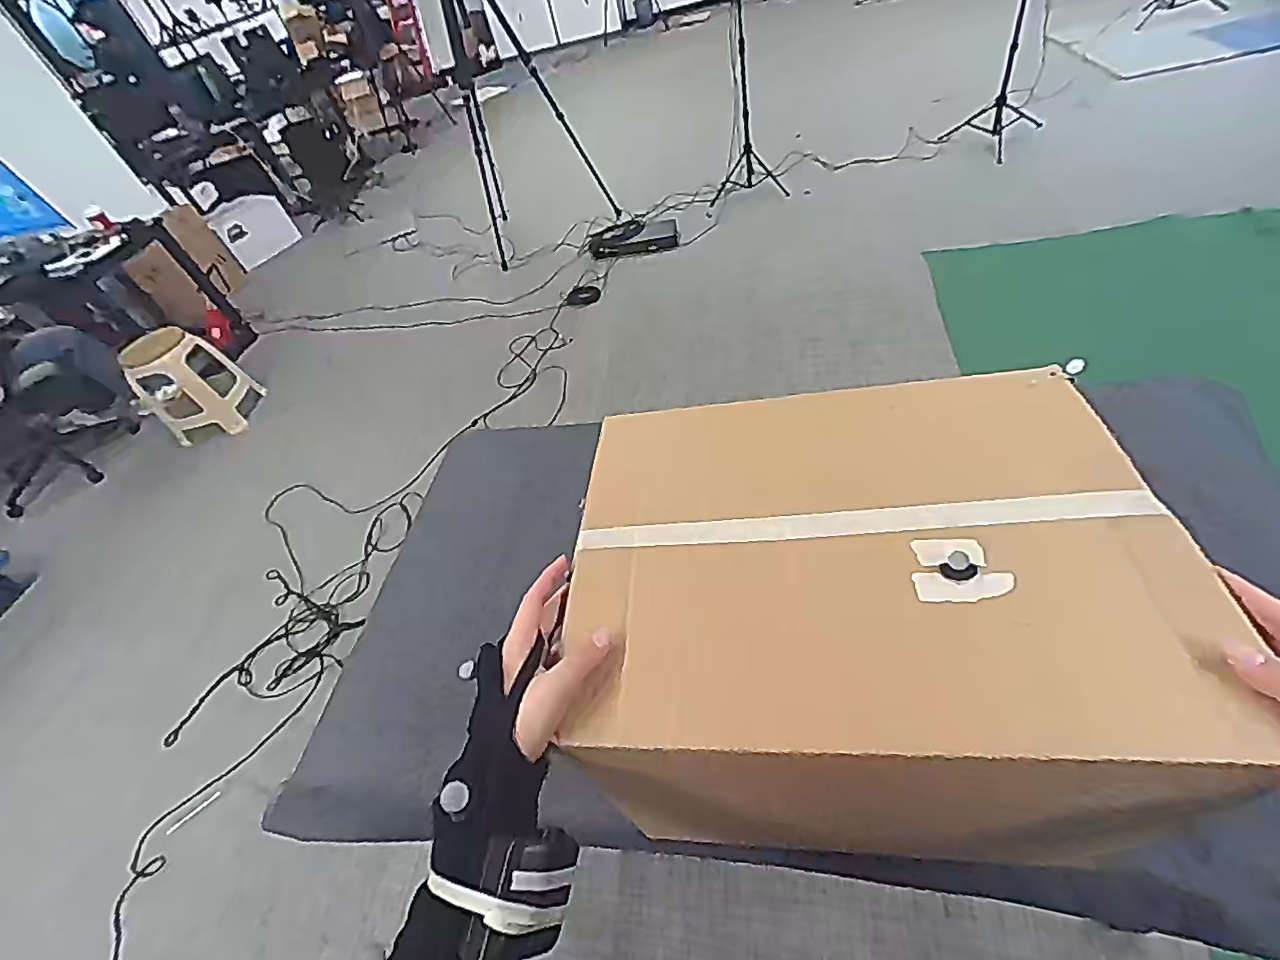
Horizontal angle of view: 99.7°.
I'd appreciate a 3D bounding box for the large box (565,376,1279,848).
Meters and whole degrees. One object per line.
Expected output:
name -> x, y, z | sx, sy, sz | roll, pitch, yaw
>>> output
large box -> 0.181, 0.136, 0.518 | 0.408, 0.320, 0.320 | -4, 48, 12
